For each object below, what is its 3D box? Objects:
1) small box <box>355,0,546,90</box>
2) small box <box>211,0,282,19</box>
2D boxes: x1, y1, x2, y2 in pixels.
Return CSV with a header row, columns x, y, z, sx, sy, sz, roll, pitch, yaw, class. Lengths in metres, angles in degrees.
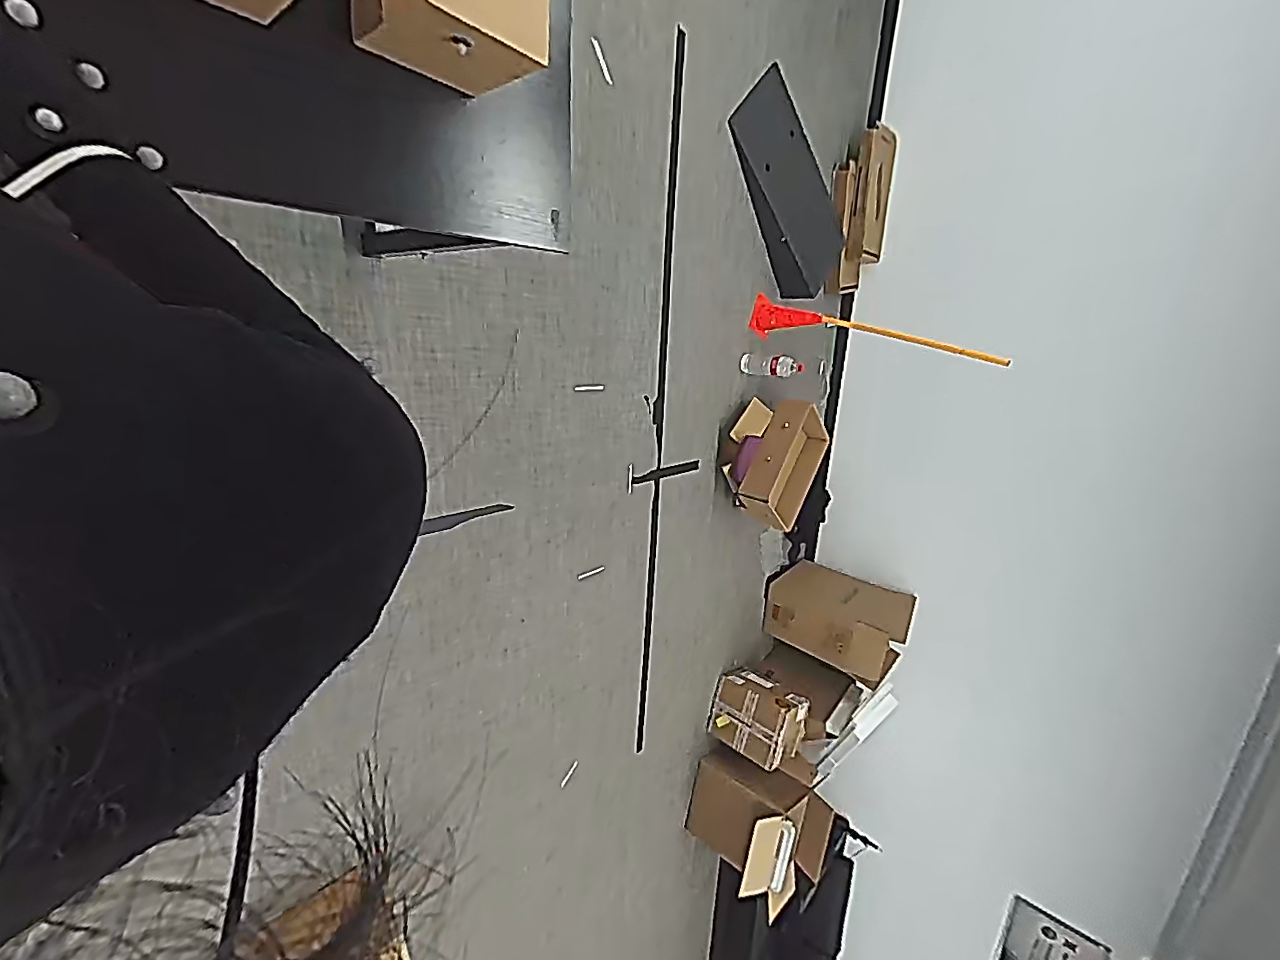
x,y,z,sx,sy,sz,roll,pitch,yaw,class
-0.237,-0.618,0.668,0.179,0.176,0.168,-13,112,-48,small box
-0.409,-0.564,0.480,0.168,0.176,0.179,-14,112,-48,small box
